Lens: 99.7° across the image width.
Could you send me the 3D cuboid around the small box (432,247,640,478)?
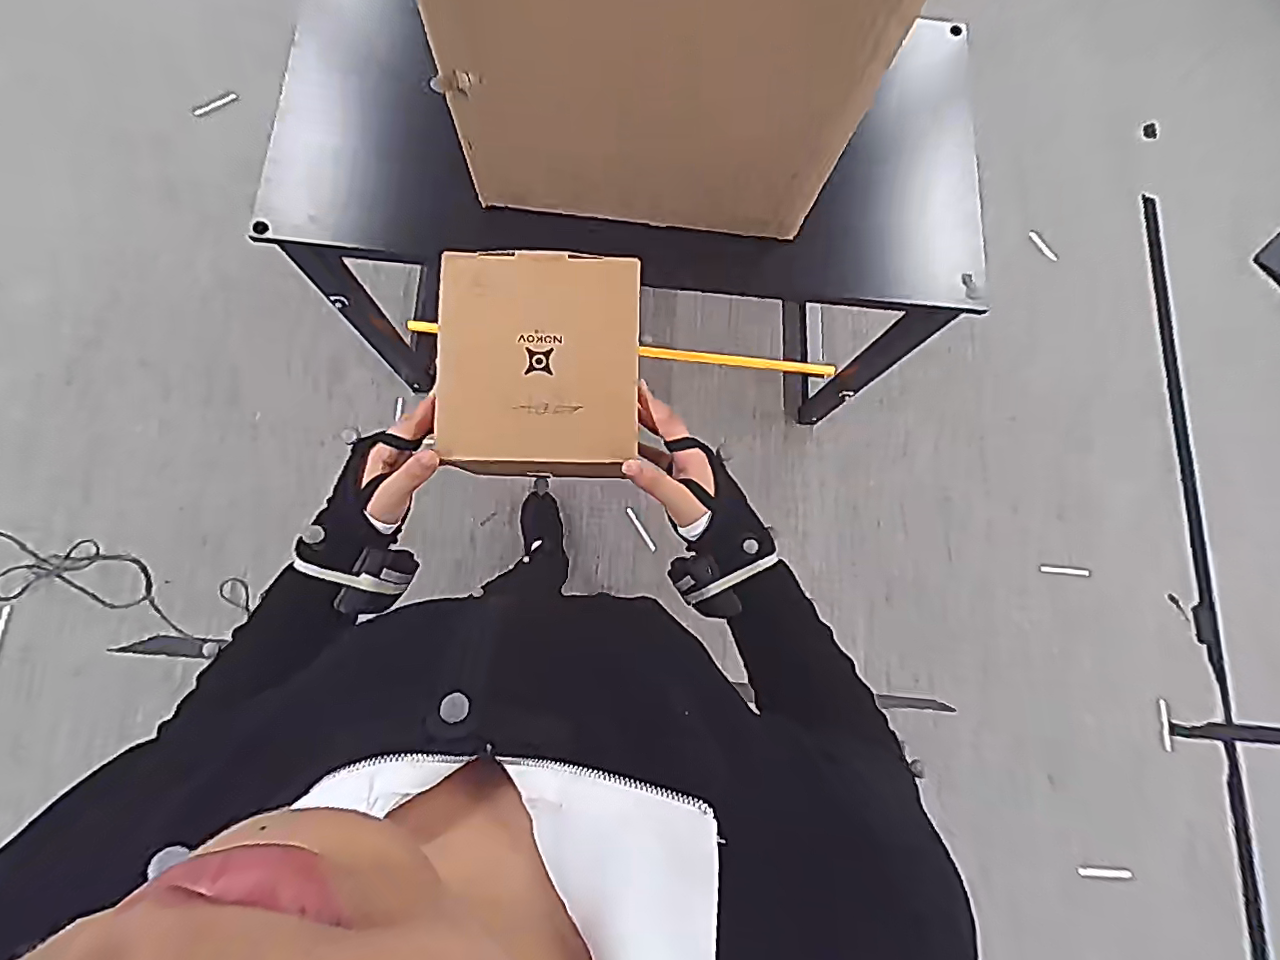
[{"bbox_3d":[-0.088,-0.098,0.522,0.168,0.176,0.179,1,86,-2],"label":"small box"}]
